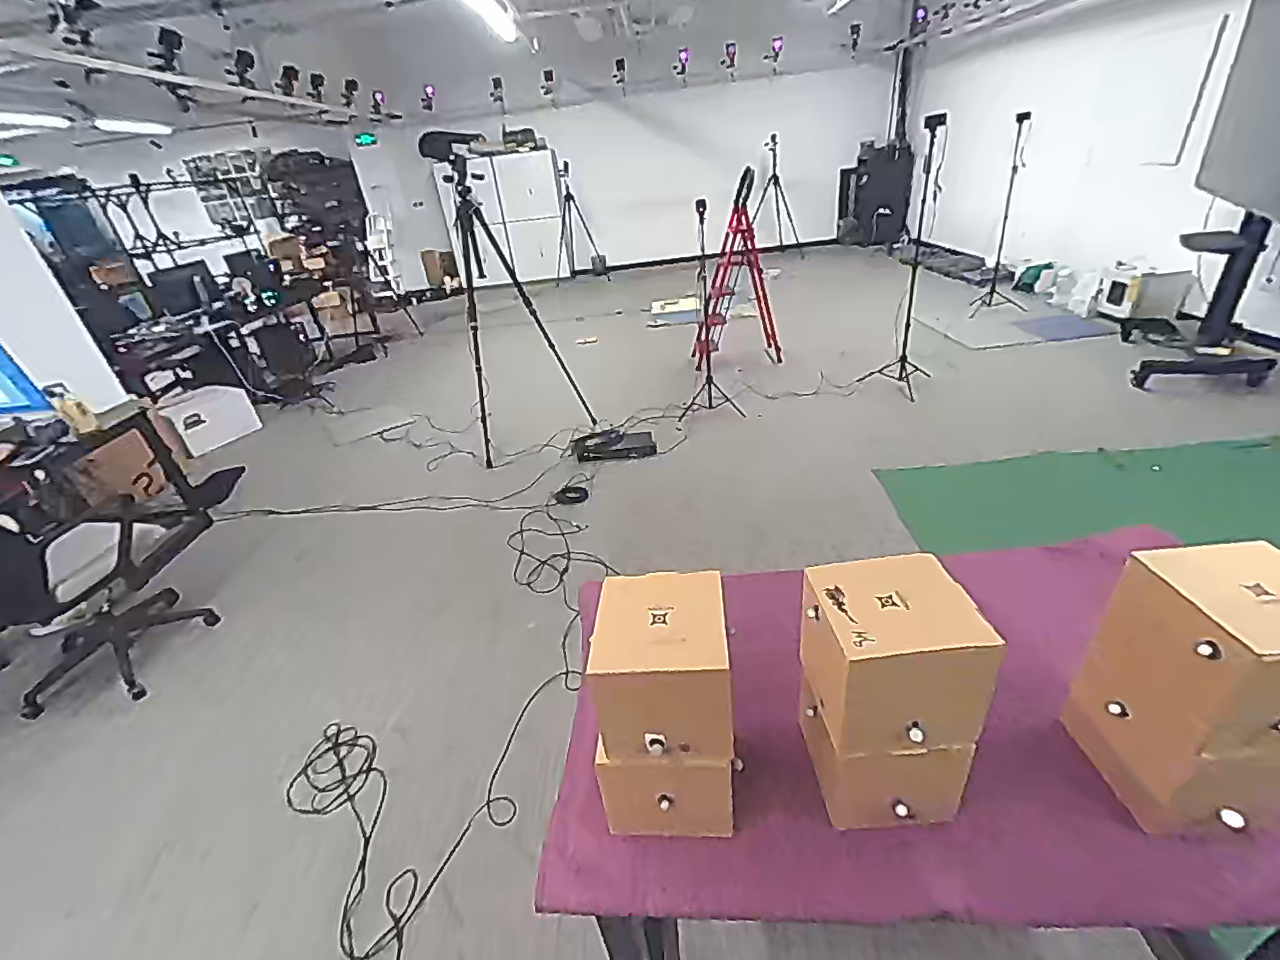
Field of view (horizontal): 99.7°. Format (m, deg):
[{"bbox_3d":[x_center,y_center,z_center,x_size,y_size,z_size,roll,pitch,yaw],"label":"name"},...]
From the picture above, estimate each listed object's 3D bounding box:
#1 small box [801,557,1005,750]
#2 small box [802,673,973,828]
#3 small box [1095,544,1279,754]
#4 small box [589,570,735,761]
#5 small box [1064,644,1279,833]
[{"bbox_3d":[0.318,0.220,0.697,0.179,0.176,0.168,-6,28,1],"label":"small box"},{"bbox_3d":[0.337,0.362,0.779,0.168,0.176,0.179,-7,29,2],"label":"small box"},{"bbox_3d":[0.712,0.200,0.655,0.168,0.176,0.179,-5,30,3],"label":"small box"},{"bbox_3d":[0.035,0.243,0.719,0.168,0.176,0.179,-5,30,6],"label":"small box"},{"bbox_3d":[0.728,0.342,0.733,0.168,0.176,0.179,-5,31,4],"label":"small box"}]
